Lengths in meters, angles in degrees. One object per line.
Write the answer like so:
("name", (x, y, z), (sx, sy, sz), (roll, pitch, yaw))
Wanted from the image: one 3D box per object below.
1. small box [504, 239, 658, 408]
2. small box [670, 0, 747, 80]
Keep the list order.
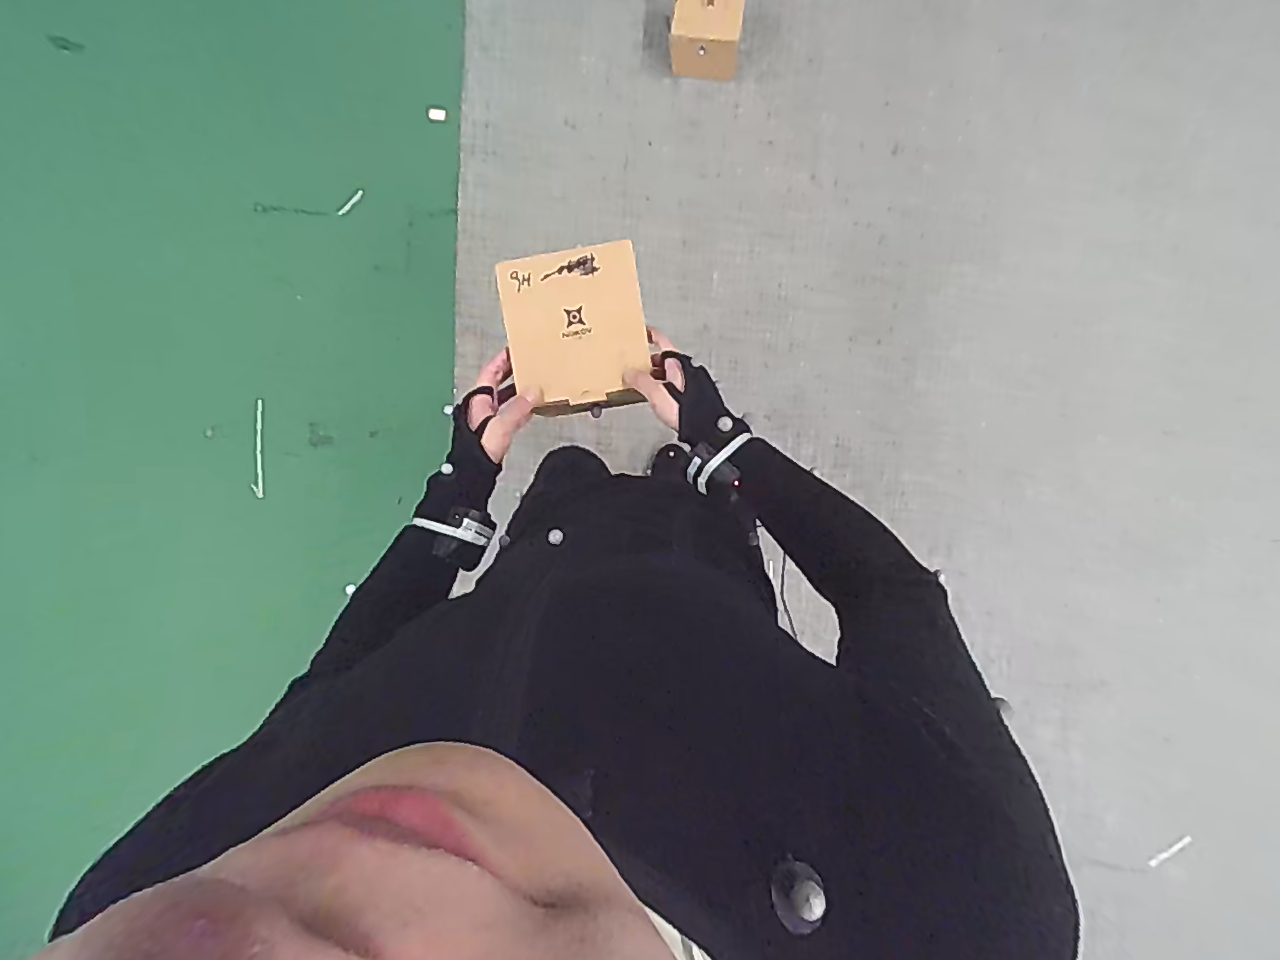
("small box", (-0.066, -0.192, 0.716), (0.168, 0.176, 0.179), (-8, 94, 2))
("small box", (0.180, -1.188, 1.416), (0.179, 0.176, 0.168), (9, 97, 4))
